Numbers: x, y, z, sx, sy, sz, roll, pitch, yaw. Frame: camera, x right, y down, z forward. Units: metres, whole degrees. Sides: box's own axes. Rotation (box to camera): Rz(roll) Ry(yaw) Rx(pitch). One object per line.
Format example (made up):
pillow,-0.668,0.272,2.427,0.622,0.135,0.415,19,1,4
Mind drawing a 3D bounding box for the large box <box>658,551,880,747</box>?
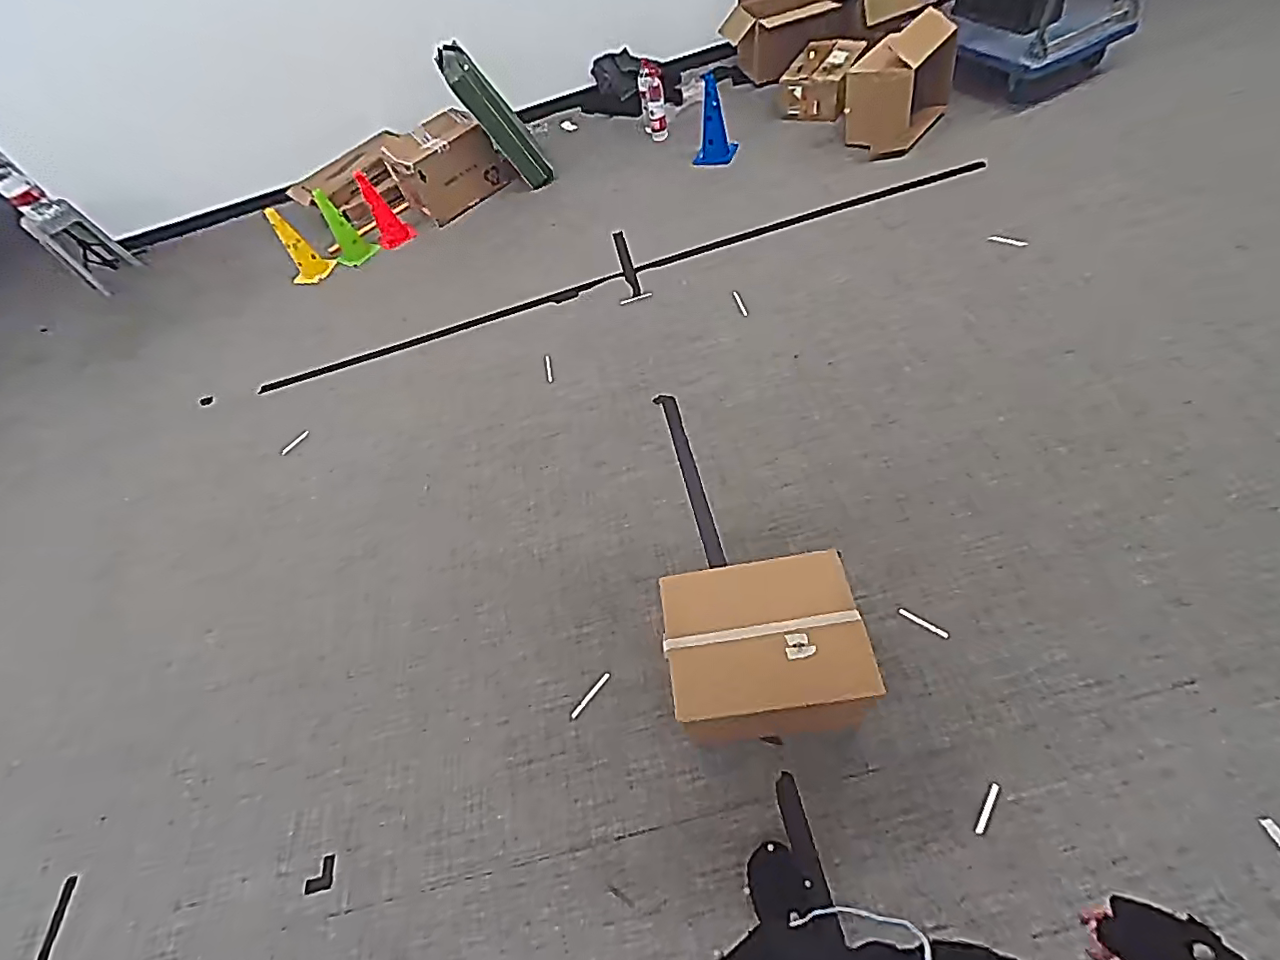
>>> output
large box,0.274,0.399,1.244,0.408,0.320,0.320,-10,55,5
